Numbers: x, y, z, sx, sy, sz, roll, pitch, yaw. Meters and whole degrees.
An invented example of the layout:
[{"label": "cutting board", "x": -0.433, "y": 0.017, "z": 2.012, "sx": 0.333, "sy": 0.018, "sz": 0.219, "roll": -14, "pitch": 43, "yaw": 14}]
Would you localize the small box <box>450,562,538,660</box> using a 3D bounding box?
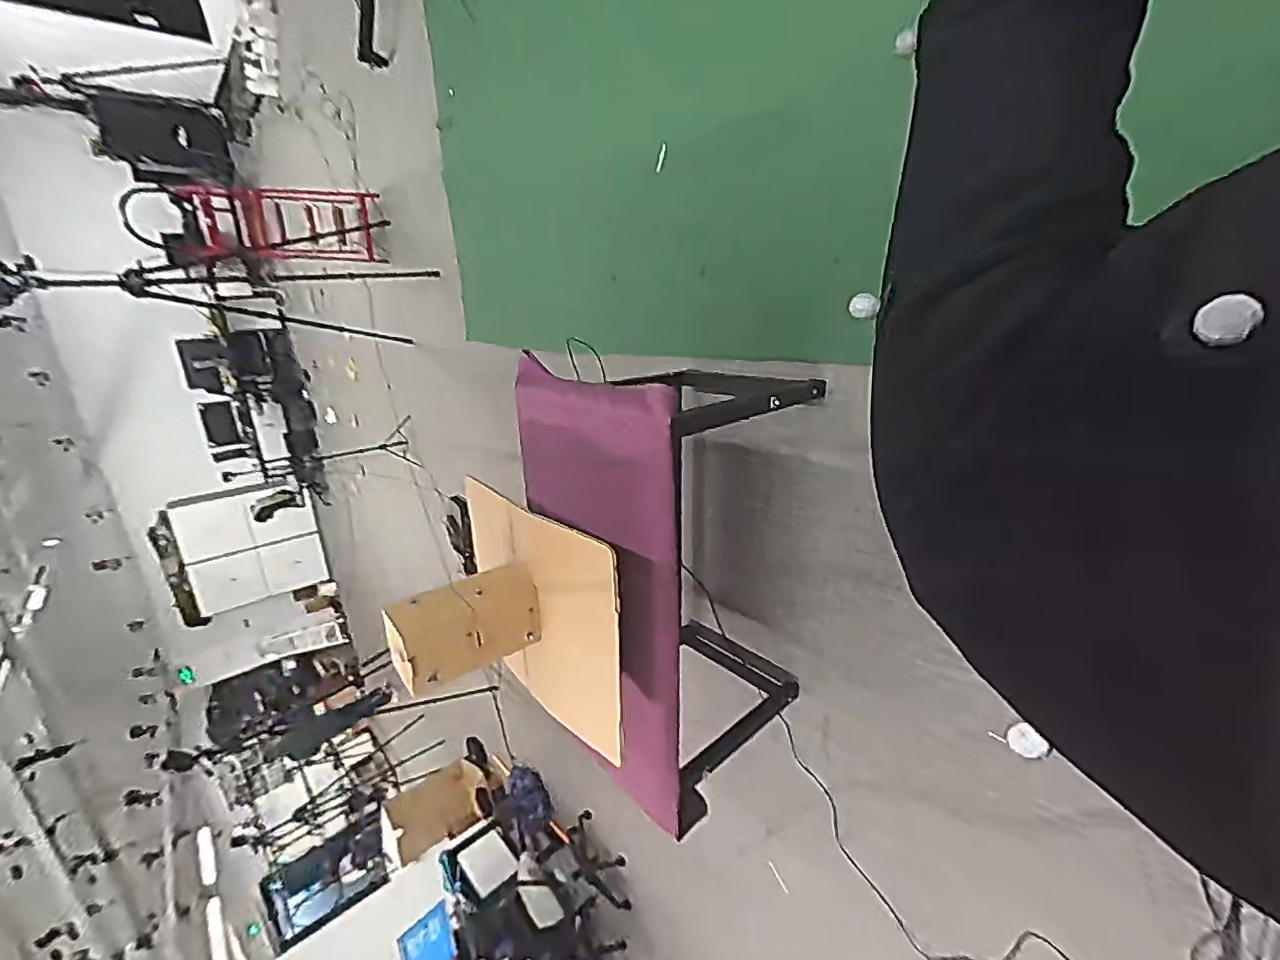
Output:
[{"label": "small box", "x": -0.378, "y": 0.334, "z": 1.425, "sx": 0.179, "sy": 0.176, "sz": 0.168, "roll": 22, "pitch": 120, "yaw": 47}]
